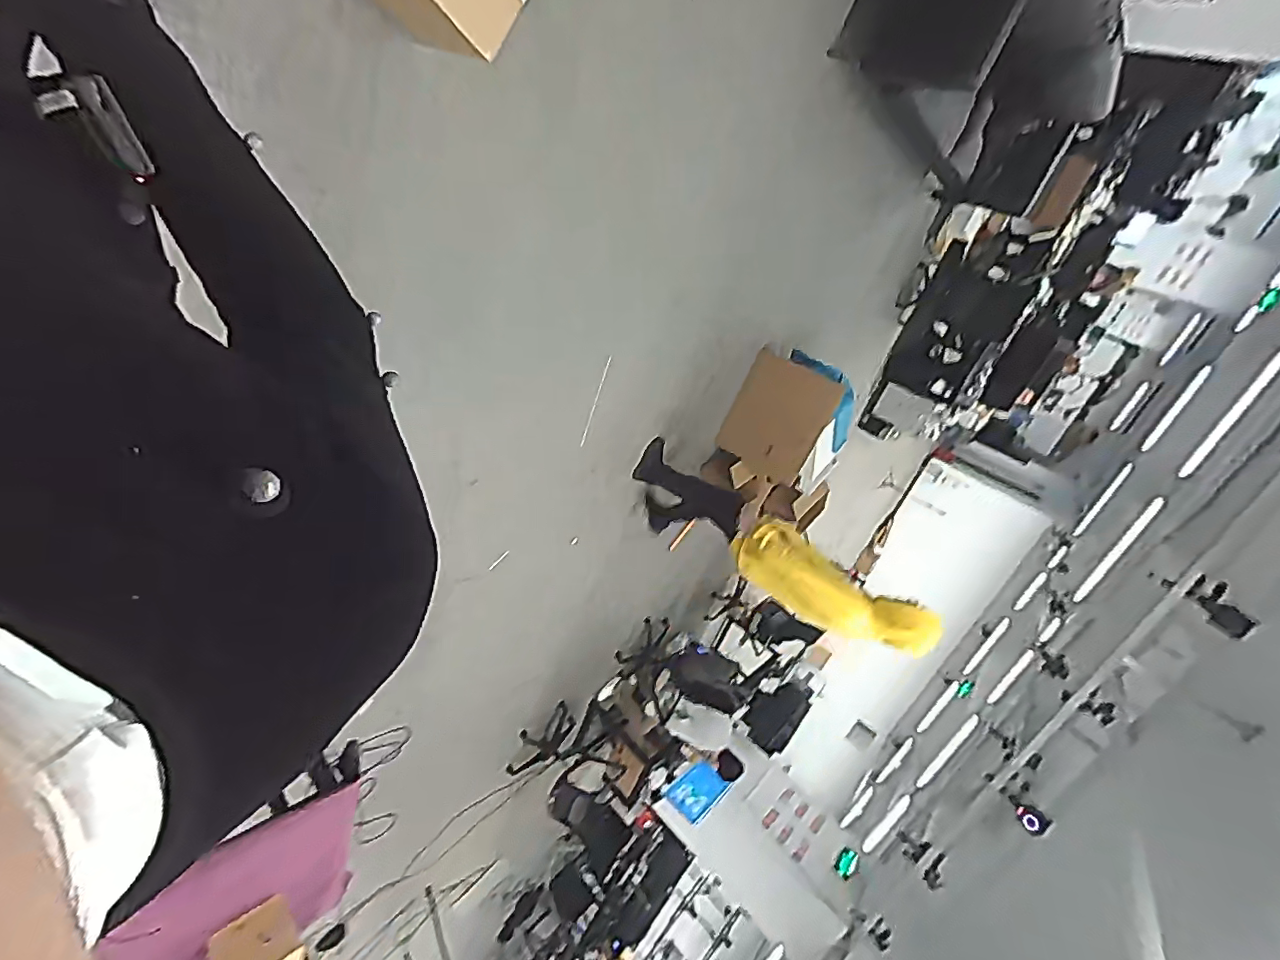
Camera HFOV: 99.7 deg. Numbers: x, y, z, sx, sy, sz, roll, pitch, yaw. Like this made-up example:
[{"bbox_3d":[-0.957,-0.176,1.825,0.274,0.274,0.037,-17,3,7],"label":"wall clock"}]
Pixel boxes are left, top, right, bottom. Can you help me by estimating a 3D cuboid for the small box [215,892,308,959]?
[{"bbox_3d":[-1.021,1.267,1.457,0.168,0.176,0.179,-13,132,-50],"label":"small box"}]
